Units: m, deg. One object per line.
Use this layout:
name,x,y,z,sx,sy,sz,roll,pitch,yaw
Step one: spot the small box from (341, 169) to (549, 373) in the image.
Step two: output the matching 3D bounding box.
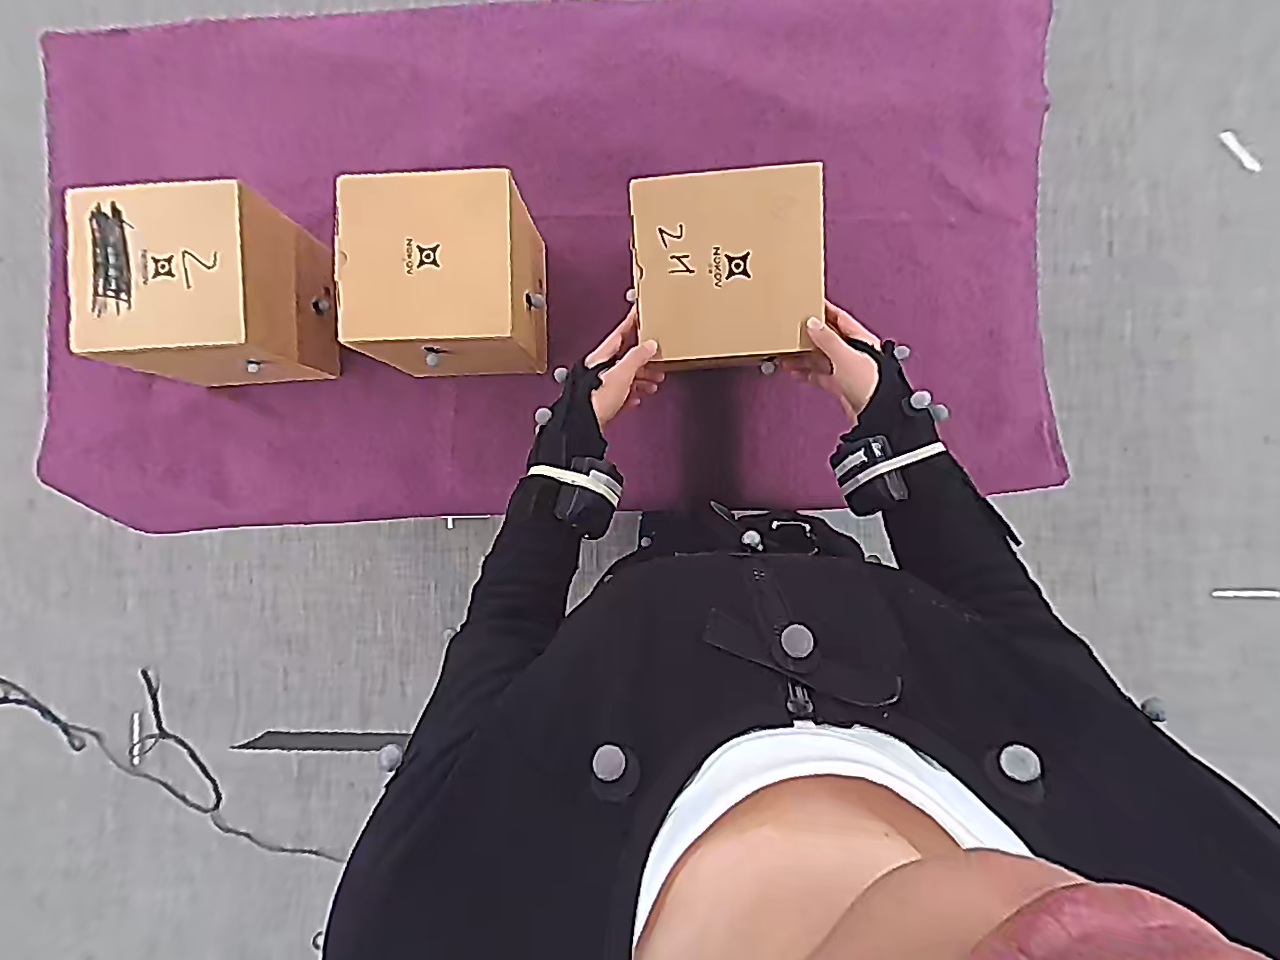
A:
small box,-0.200,-0.217,0.602,0.179,0.176,0.168,-1,89,3

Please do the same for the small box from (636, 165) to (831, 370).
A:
small box,0.090,-0.207,0.572,0.179,0.176,0.168,-2,98,5
